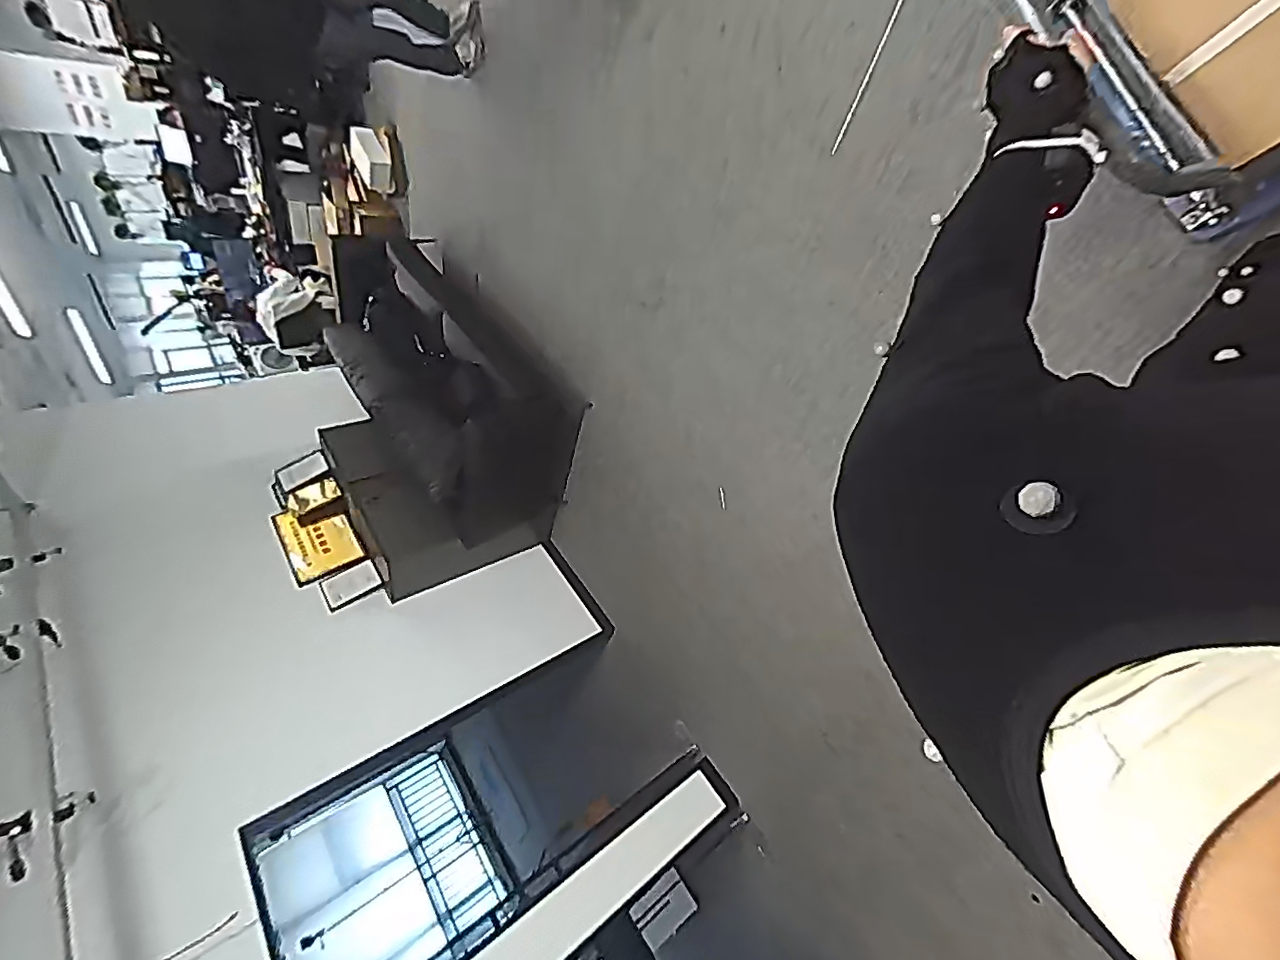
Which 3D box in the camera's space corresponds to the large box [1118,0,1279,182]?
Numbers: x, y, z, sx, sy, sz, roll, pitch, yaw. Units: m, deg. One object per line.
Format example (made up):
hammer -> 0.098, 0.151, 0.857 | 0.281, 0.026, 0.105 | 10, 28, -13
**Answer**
large box -> 0.958, -0.668, 0.689 | 0.408, 0.320, 0.320 | -38, 76, 51
